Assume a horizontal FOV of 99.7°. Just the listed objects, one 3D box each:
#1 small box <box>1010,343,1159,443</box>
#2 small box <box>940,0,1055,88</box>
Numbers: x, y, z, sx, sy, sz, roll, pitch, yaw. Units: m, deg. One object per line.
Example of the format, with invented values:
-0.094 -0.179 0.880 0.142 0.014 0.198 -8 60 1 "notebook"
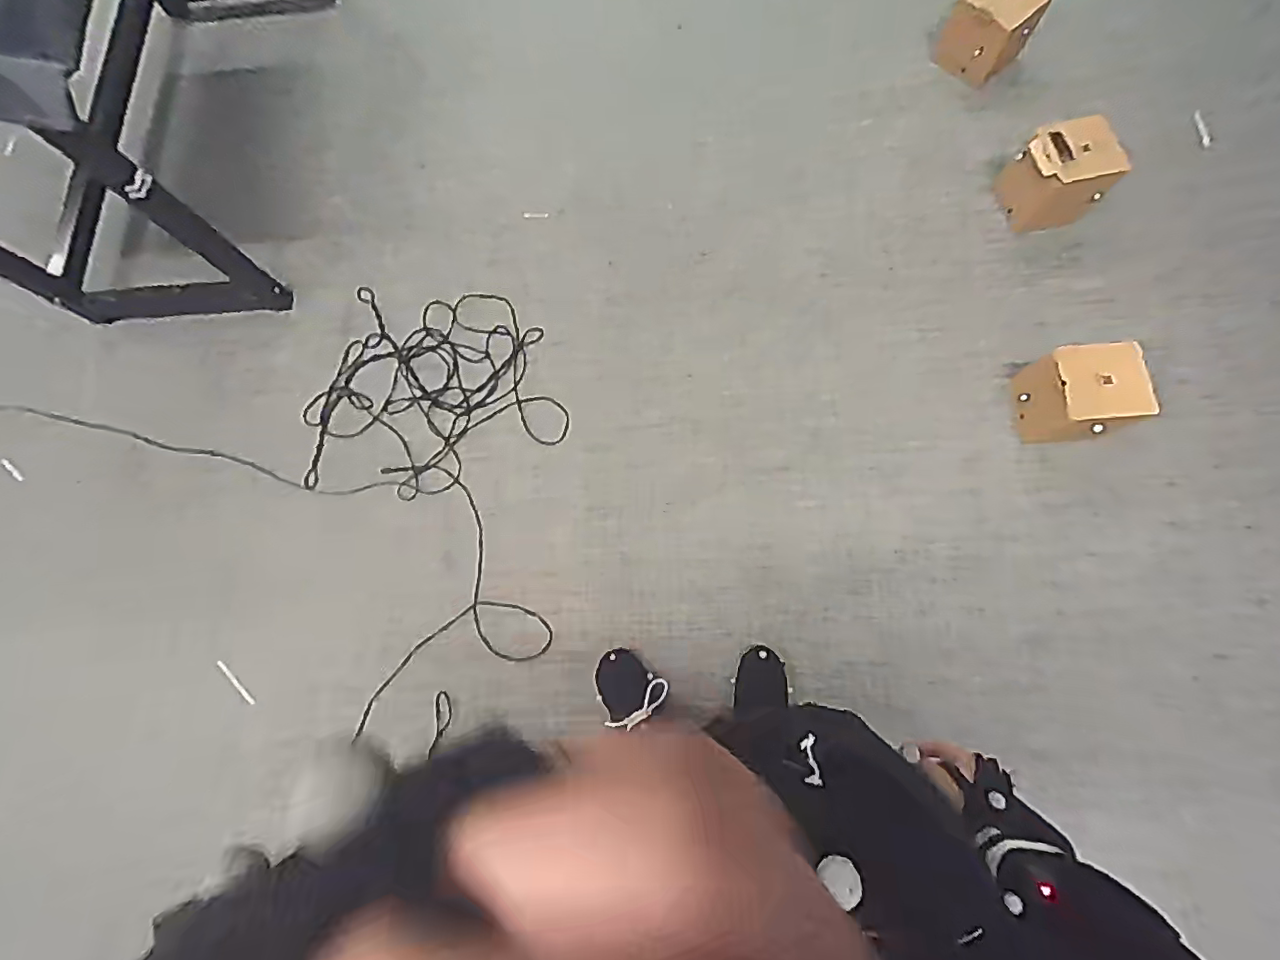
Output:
0.967 -0.185 1.193 0.179 0.176 0.168 -4 76 3 "small box"
0.945 -1.207 1.447 0.179 0.176 0.168 -40 78 -7 "small box"
